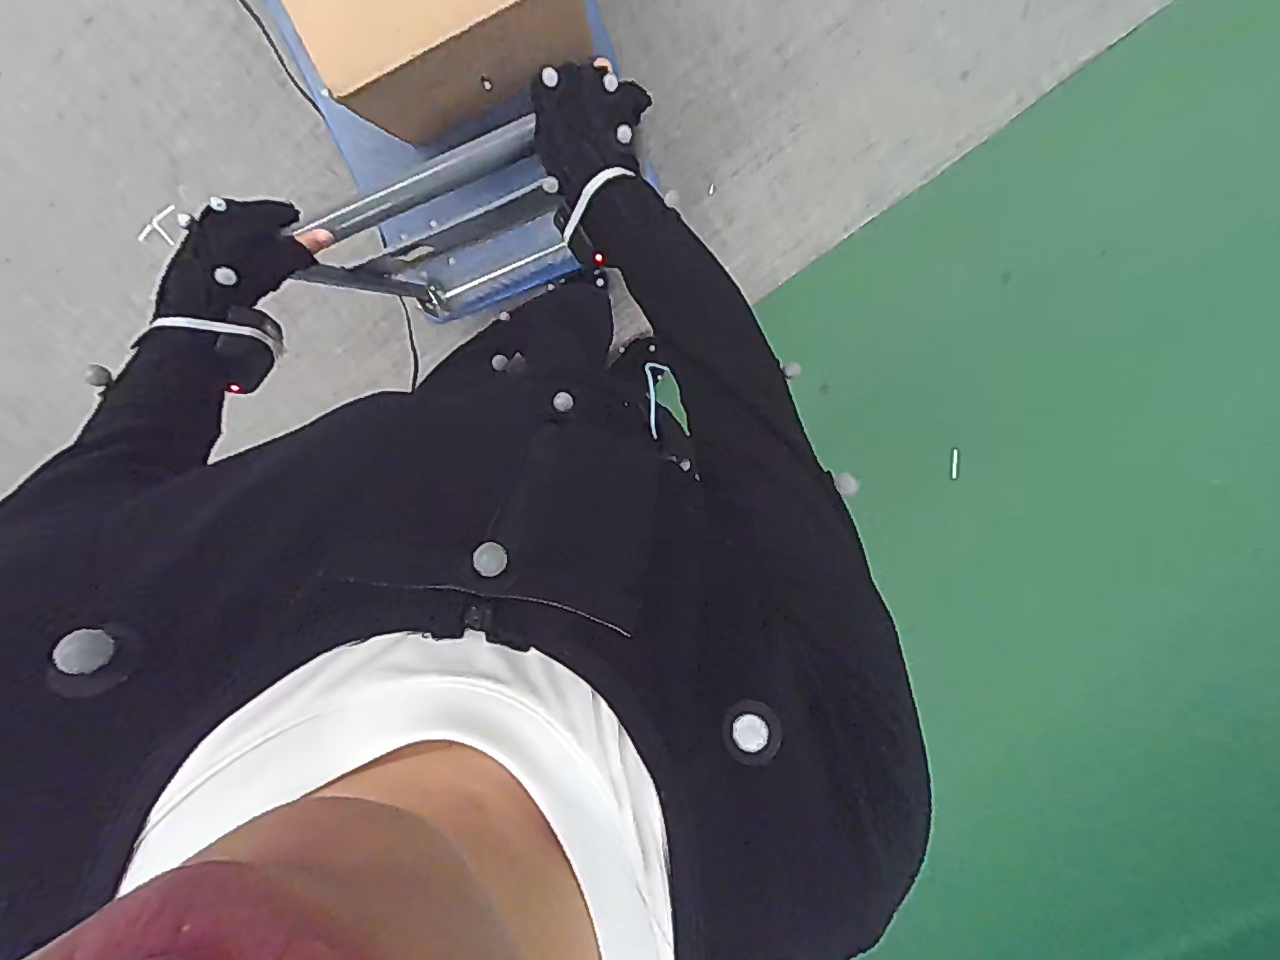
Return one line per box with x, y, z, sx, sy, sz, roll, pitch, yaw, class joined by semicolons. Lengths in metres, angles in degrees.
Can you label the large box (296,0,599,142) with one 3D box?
-0.319;-0.833;0.884;0.408;0.320;0.320;-21;108;9;large box
